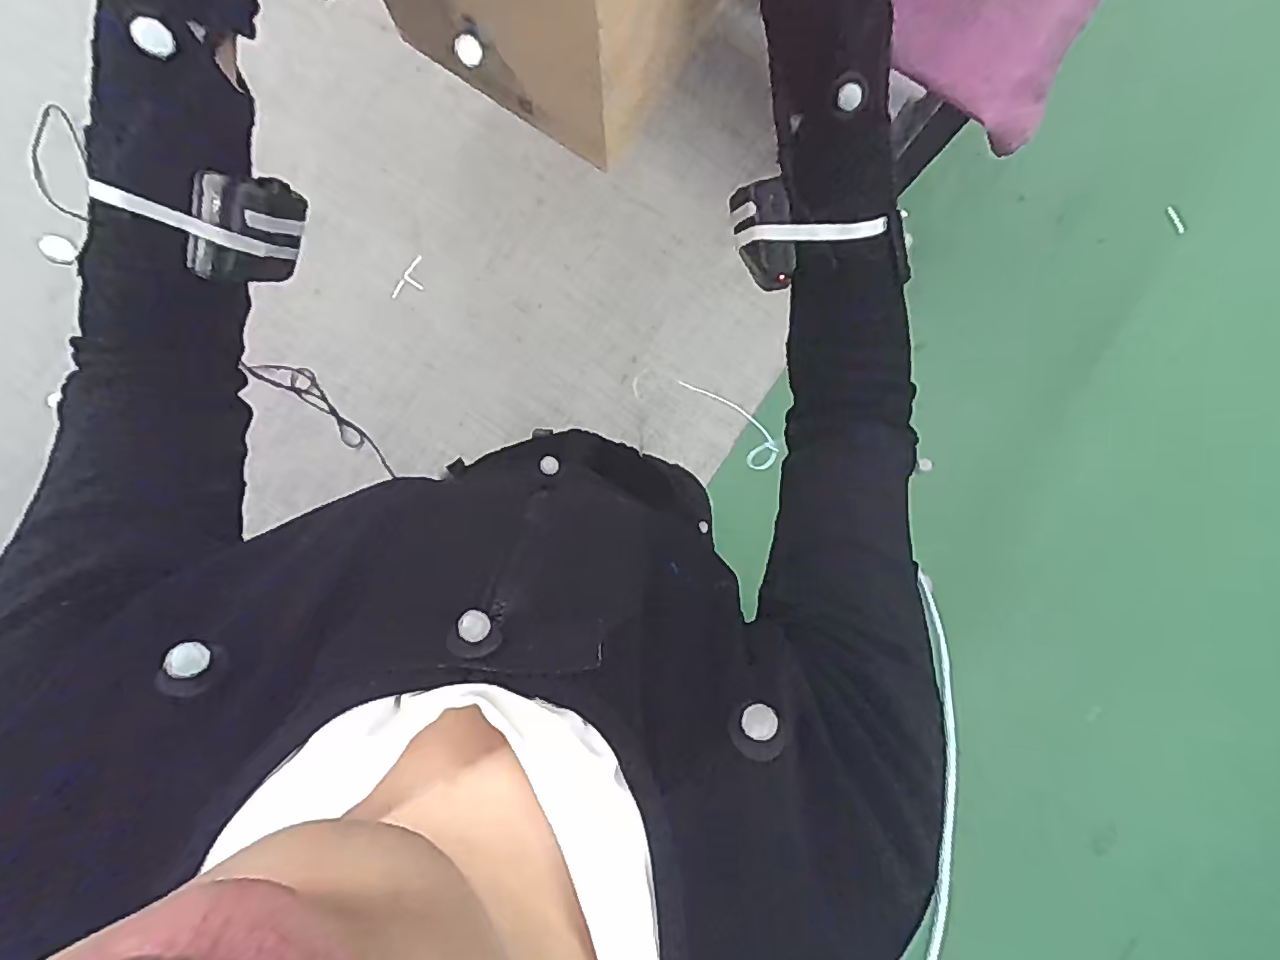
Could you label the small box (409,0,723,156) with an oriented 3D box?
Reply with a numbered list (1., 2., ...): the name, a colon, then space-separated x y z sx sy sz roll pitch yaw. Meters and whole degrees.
1. small box: -0.037 -0.322 0.274 0.168 0.176 0.179 34 88 0
